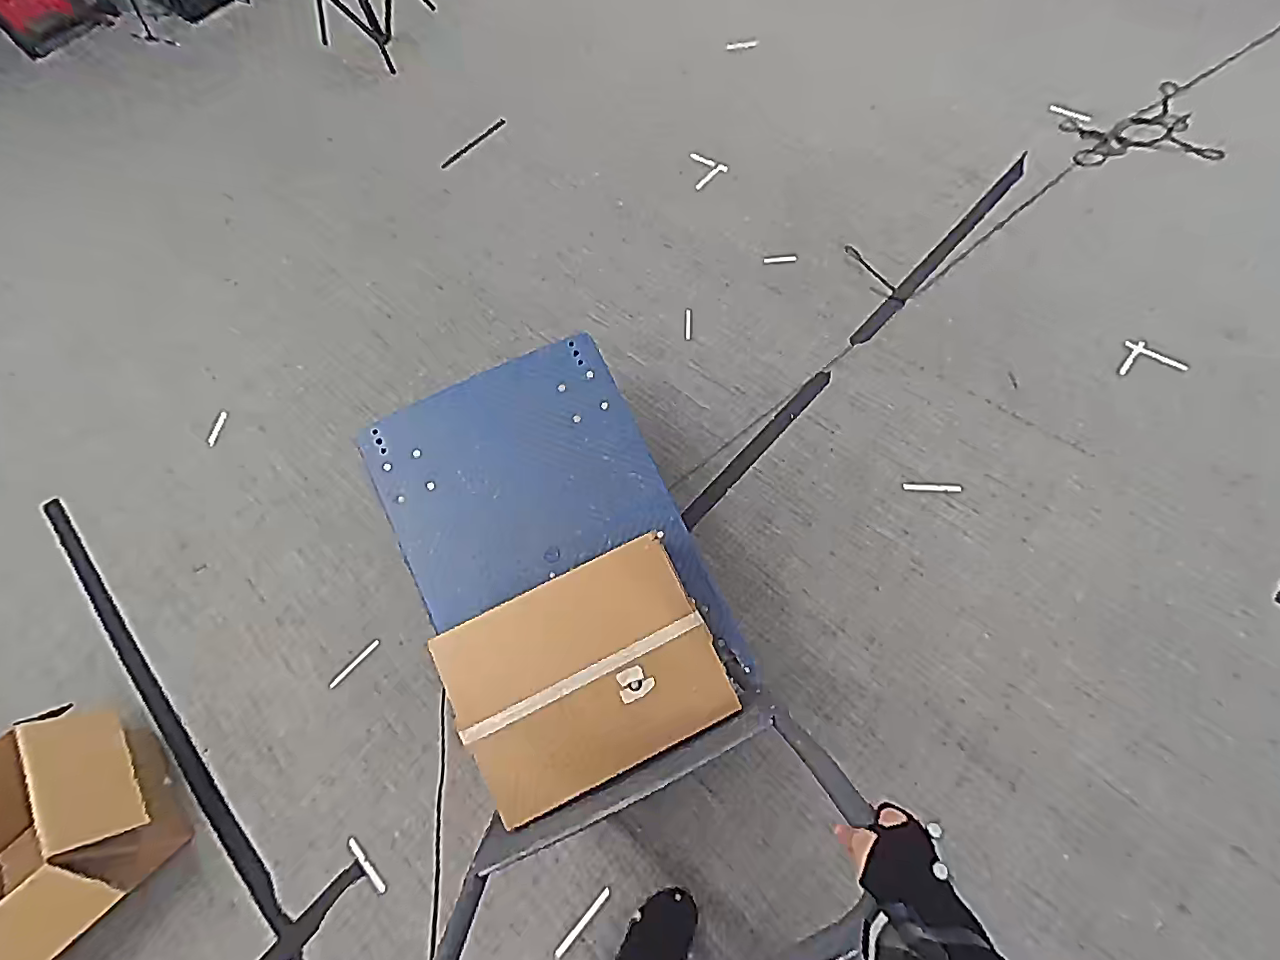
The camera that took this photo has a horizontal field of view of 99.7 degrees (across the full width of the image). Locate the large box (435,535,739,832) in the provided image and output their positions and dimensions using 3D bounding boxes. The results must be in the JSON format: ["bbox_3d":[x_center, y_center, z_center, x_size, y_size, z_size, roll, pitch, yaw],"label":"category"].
[{"bbox_3d":[-0.090,0.337,1.001,0.408,0.320,0.320,-26,83,-6],"label":"large box"}]
